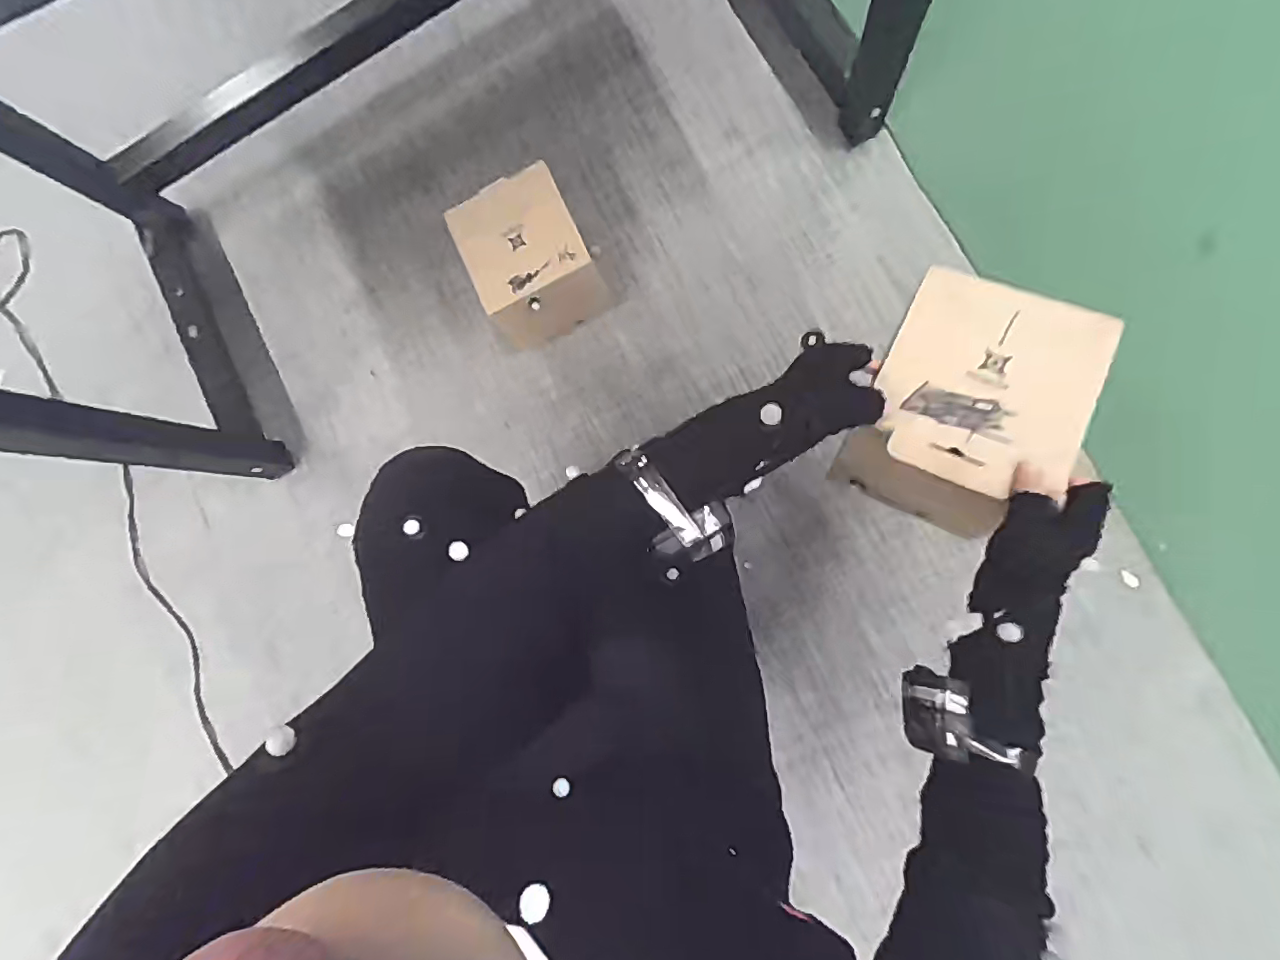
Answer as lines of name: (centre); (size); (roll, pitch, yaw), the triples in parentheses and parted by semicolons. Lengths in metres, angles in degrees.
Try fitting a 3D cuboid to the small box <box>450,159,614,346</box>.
small box: (-0.159, -0.340, 0.843); (0.168, 0.176, 0.179); (-26, 80, 7)
